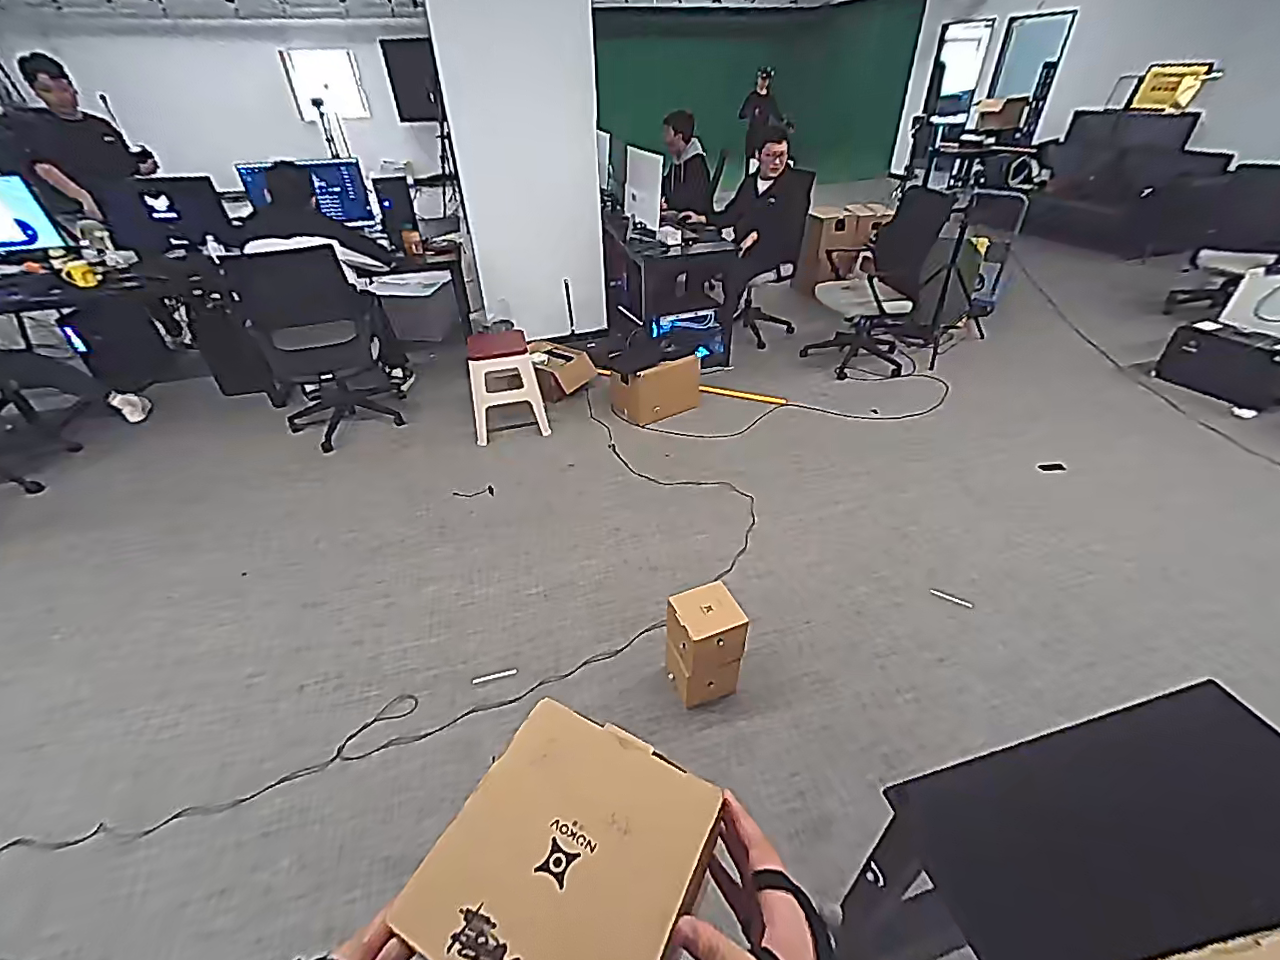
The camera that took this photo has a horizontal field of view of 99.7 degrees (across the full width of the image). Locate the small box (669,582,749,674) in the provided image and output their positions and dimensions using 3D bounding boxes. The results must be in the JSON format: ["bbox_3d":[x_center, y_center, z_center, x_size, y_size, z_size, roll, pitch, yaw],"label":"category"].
[{"bbox_3d":[0.195,0.432,1.568,0.179,0.176,0.168,-14,39,-18],"label":"small box"}]

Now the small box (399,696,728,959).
[{"bbox_3d":[-0.044,0.315,0.419,0.168,0.176,0.179,16,40,24],"label":"small box"}]

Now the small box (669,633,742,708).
[{"bbox_3d":[0.194,0.564,1.662,0.179,0.176,0.168,-14,38,-14],"label":"small box"}]
